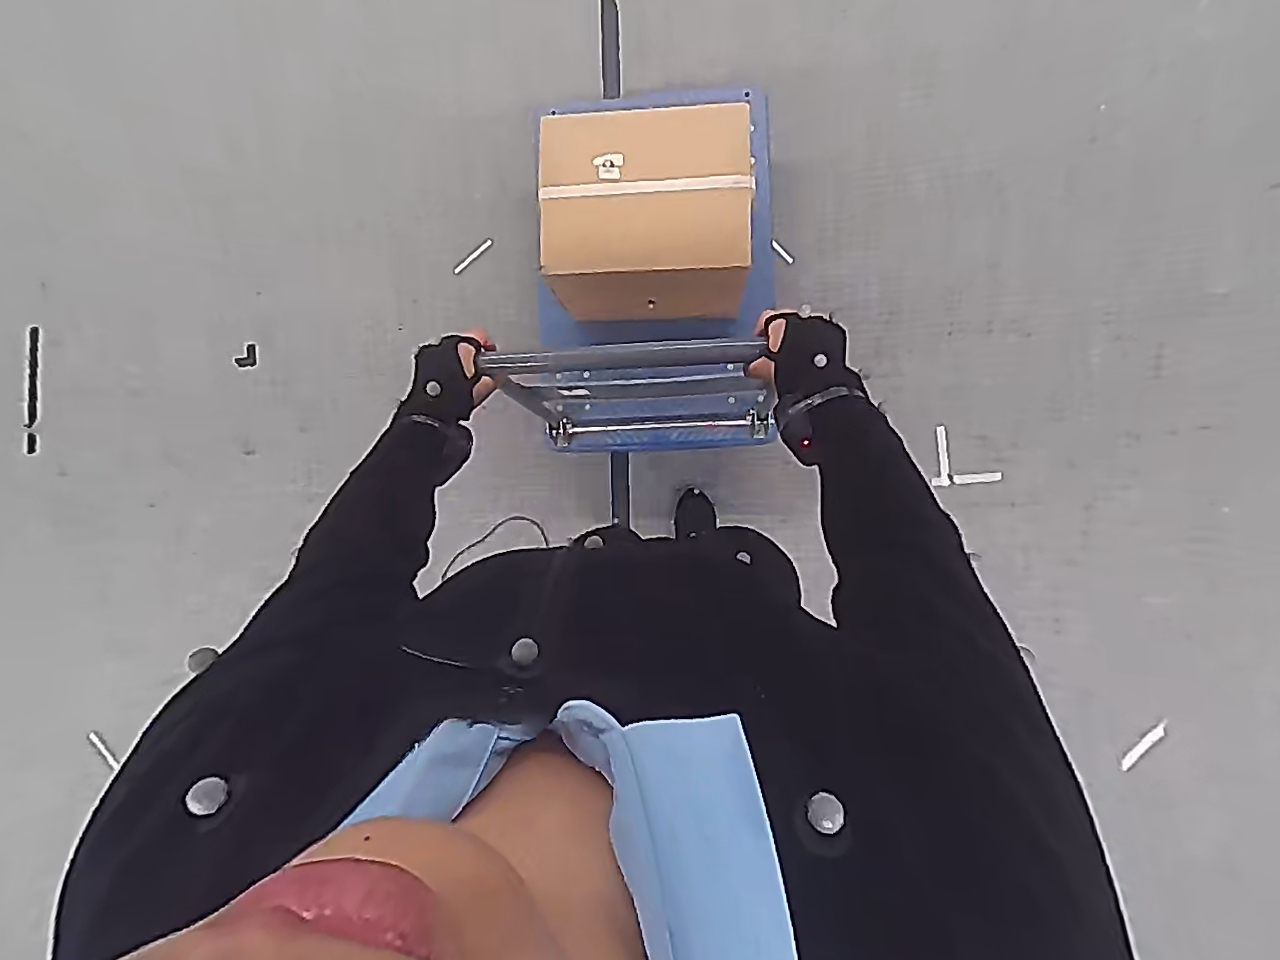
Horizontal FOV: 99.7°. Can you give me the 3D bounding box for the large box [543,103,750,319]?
[{"bbox_3d":[0.024,-0.559,1.192,0.408,0.320,0.320,-1,88,6],"label":"large box"}]
